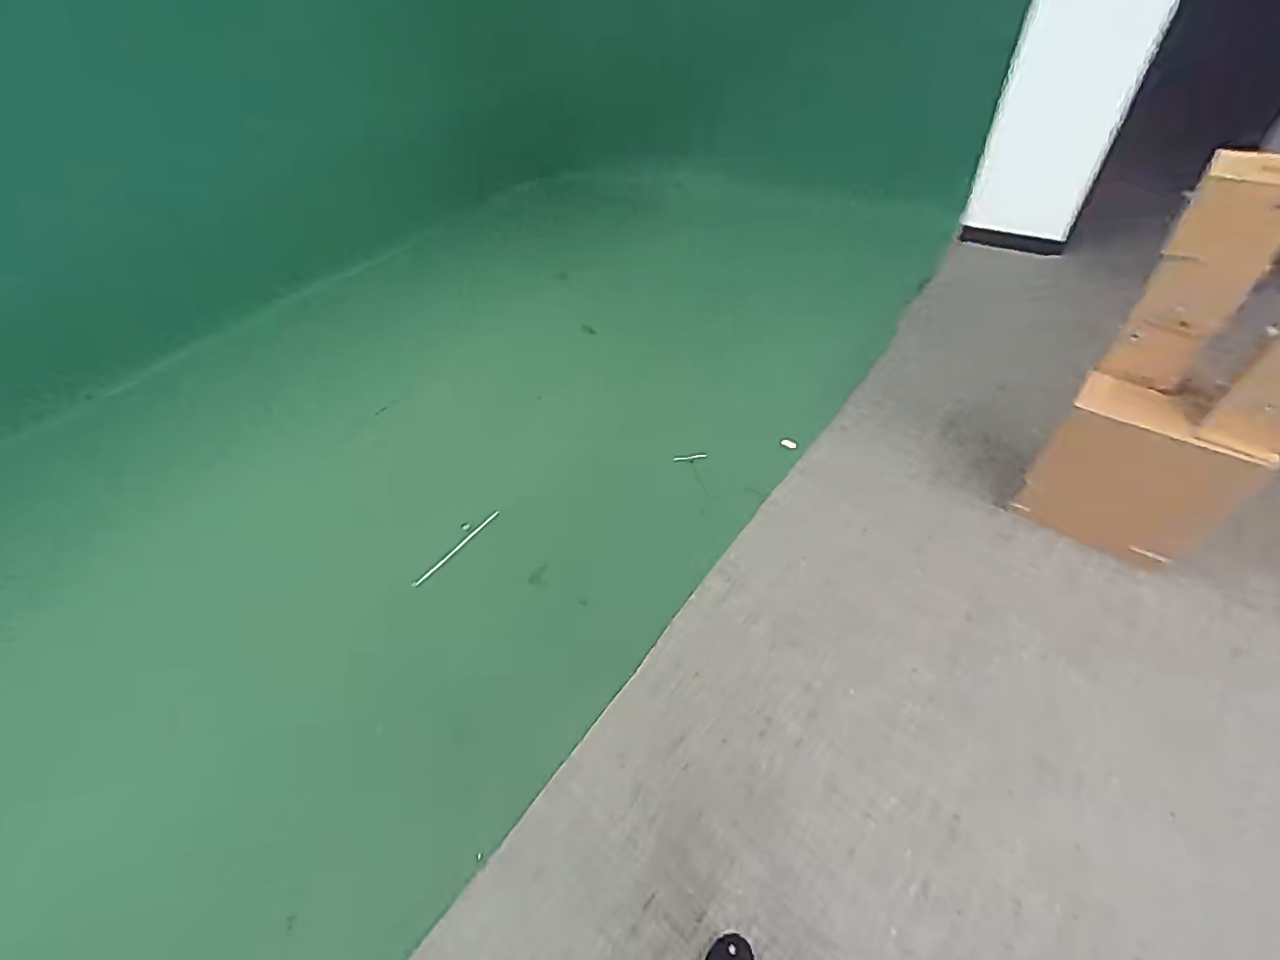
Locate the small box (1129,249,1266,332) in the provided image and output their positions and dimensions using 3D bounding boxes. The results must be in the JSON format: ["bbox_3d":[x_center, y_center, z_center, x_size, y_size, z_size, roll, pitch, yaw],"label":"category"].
[{"bbox_3d":[1.324,-0.483,1.288,0.168,0.176,0.179,33,62,33],"label":"small box"}]

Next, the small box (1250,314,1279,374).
[{"bbox_3d":[1.442,-0.309,1.112,0.179,0.176,0.168,32,61,31],"label":"small box"}]

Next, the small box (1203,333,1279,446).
[{"bbox_3d":[1.457,-0.204,1.236,0.179,0.176,0.168,31,62,31],"label":"small box"}]

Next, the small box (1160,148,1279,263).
[{"bbox_3d":[1.290,-0.595,1.173,0.179,0.176,0.168,28,58,30],"label":"small box"}]
